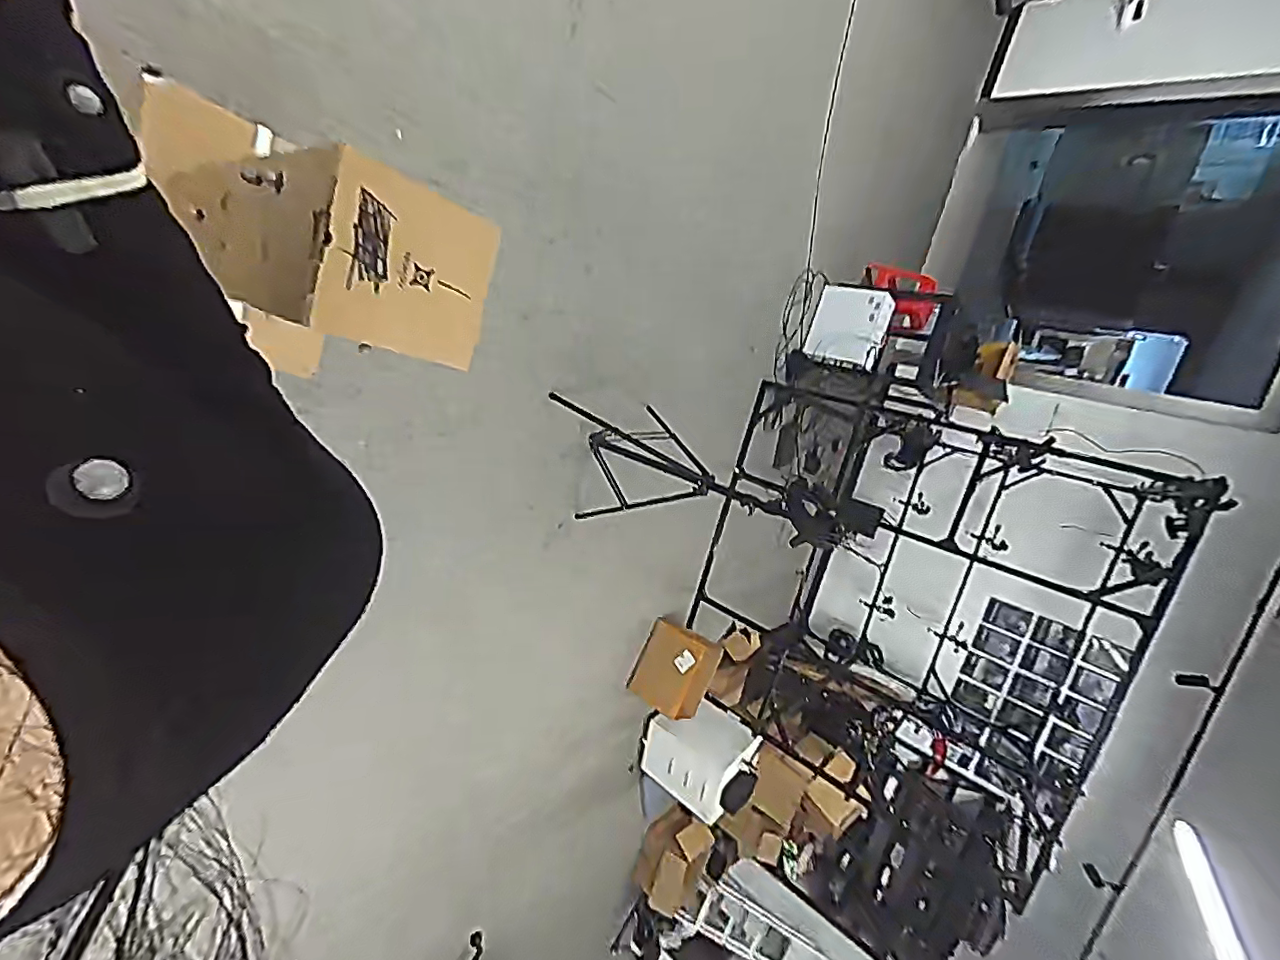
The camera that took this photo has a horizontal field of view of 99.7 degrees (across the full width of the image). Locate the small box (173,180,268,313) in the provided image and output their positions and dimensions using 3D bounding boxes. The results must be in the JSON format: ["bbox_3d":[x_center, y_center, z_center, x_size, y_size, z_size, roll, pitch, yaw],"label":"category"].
[{"bbox_3d":[-0.648,-0.378,0.899,0.168,0.176,0.179,2,107,-51],"label":"small box"}]

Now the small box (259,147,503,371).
[{"bbox_3d":[-0.288,-0.233,0.599,0.179,0.176,0.168,7,103,-53],"label":"small box"}]

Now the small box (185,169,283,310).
[{"bbox_3d":[-0.531,-0.334,0.796,0.179,0.176,0.168,4,105,-51],"label":"small box"}]
